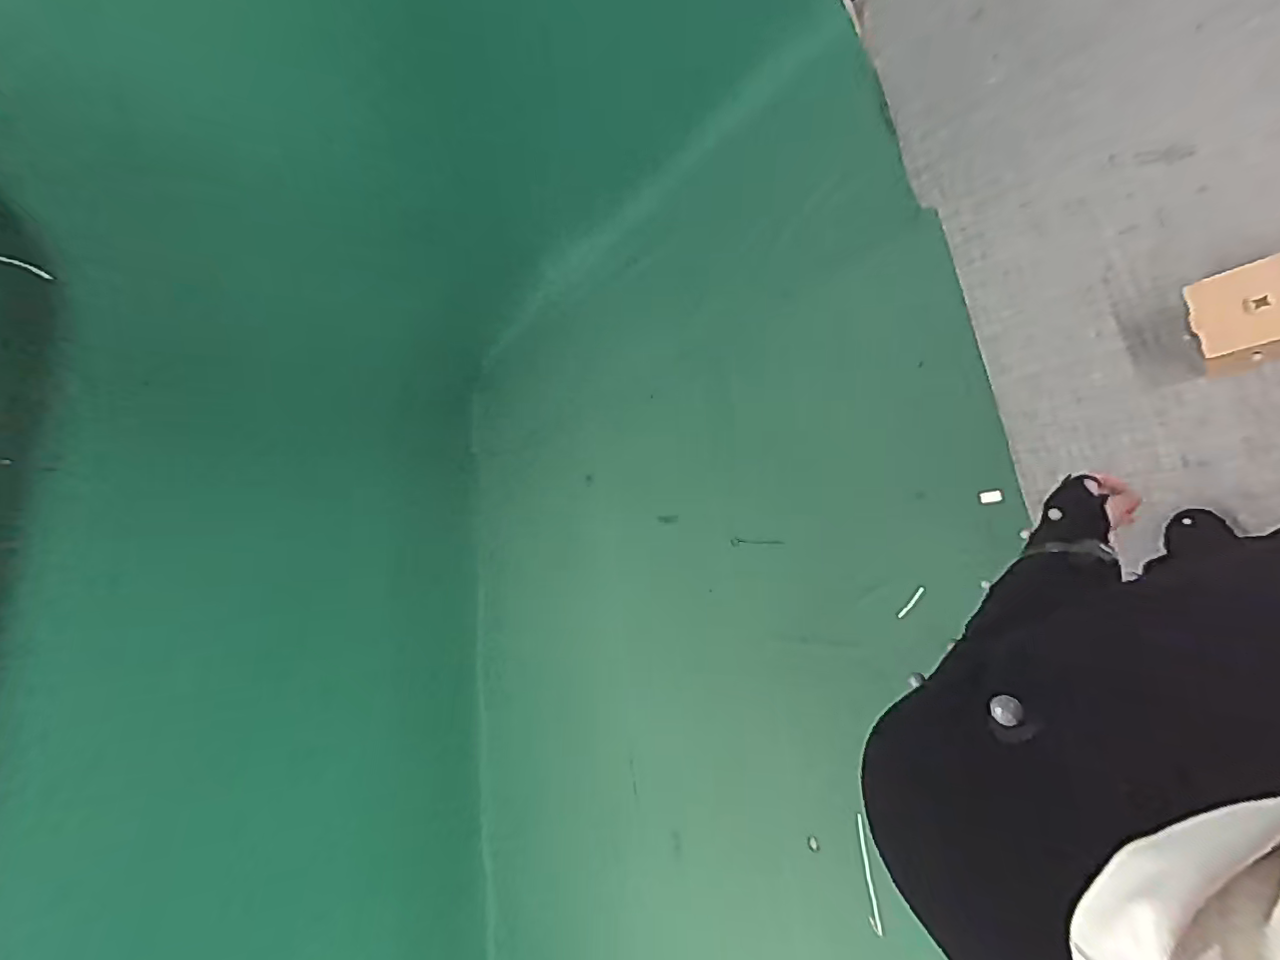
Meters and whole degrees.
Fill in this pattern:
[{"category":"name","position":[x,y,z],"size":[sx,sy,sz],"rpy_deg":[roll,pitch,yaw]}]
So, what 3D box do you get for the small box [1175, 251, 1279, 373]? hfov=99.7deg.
[{"category":"small box","position":[1.234,-0.333,1.095],"size":[0.179,0.176,0.168],"rpy_deg":[-18,72,45]}]
